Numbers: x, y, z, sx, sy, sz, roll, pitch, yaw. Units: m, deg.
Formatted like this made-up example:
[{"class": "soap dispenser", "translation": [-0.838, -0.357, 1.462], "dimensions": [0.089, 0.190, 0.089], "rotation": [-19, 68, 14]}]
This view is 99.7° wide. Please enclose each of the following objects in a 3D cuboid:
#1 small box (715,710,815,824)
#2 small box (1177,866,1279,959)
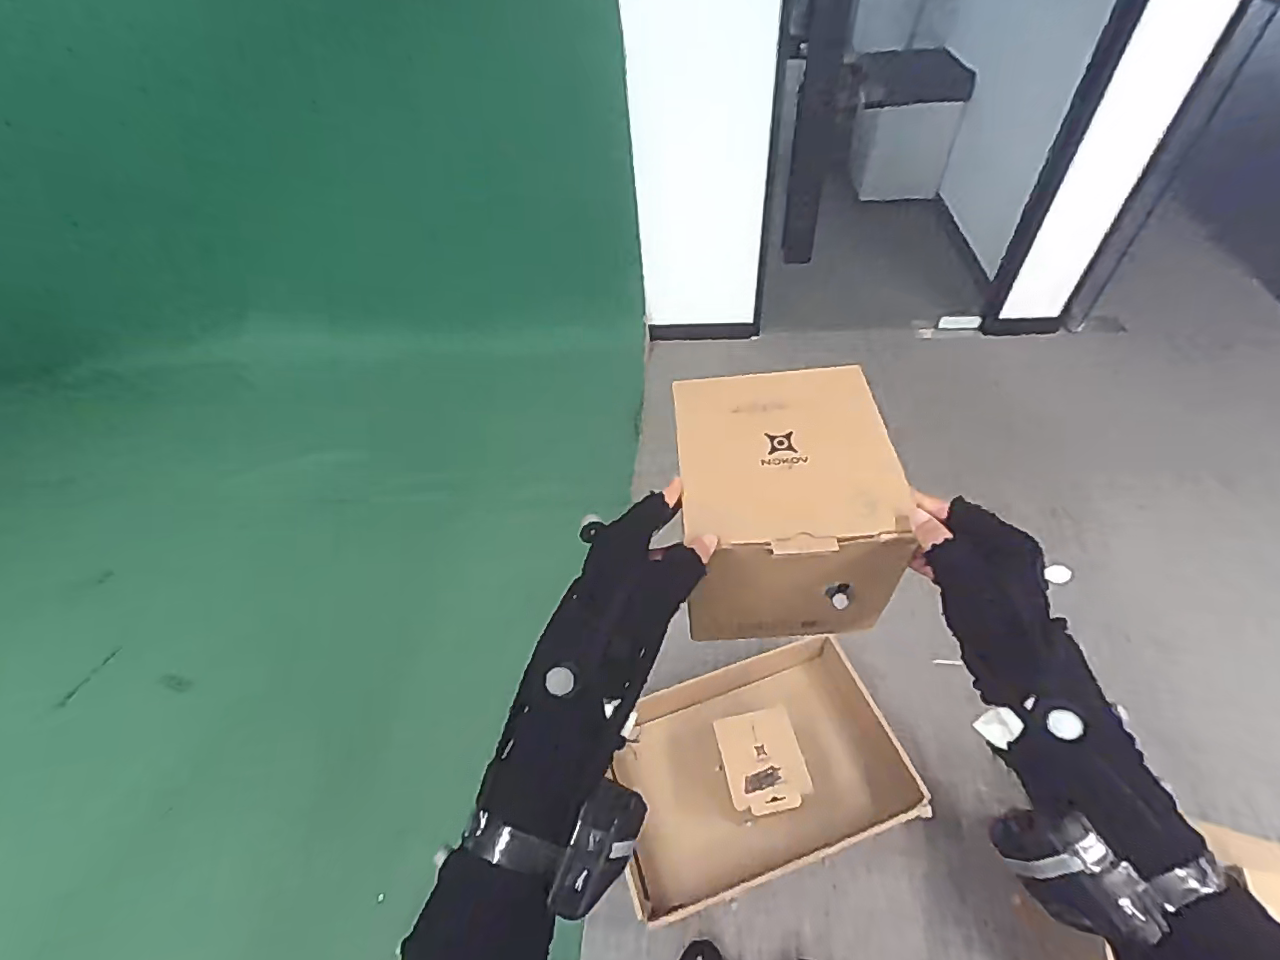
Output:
[{"class": "small box", "translation": [0.267, 0.633, 1.182], "dimensions": [0.168, 0.176, 0.179], "rotation": [-12, 48, -2]}, {"class": "small box", "translation": [0.900, 0.657, 0.740], "dimensions": [0.179, 0.176, 0.168], "rotation": [7, 52, 13]}]
